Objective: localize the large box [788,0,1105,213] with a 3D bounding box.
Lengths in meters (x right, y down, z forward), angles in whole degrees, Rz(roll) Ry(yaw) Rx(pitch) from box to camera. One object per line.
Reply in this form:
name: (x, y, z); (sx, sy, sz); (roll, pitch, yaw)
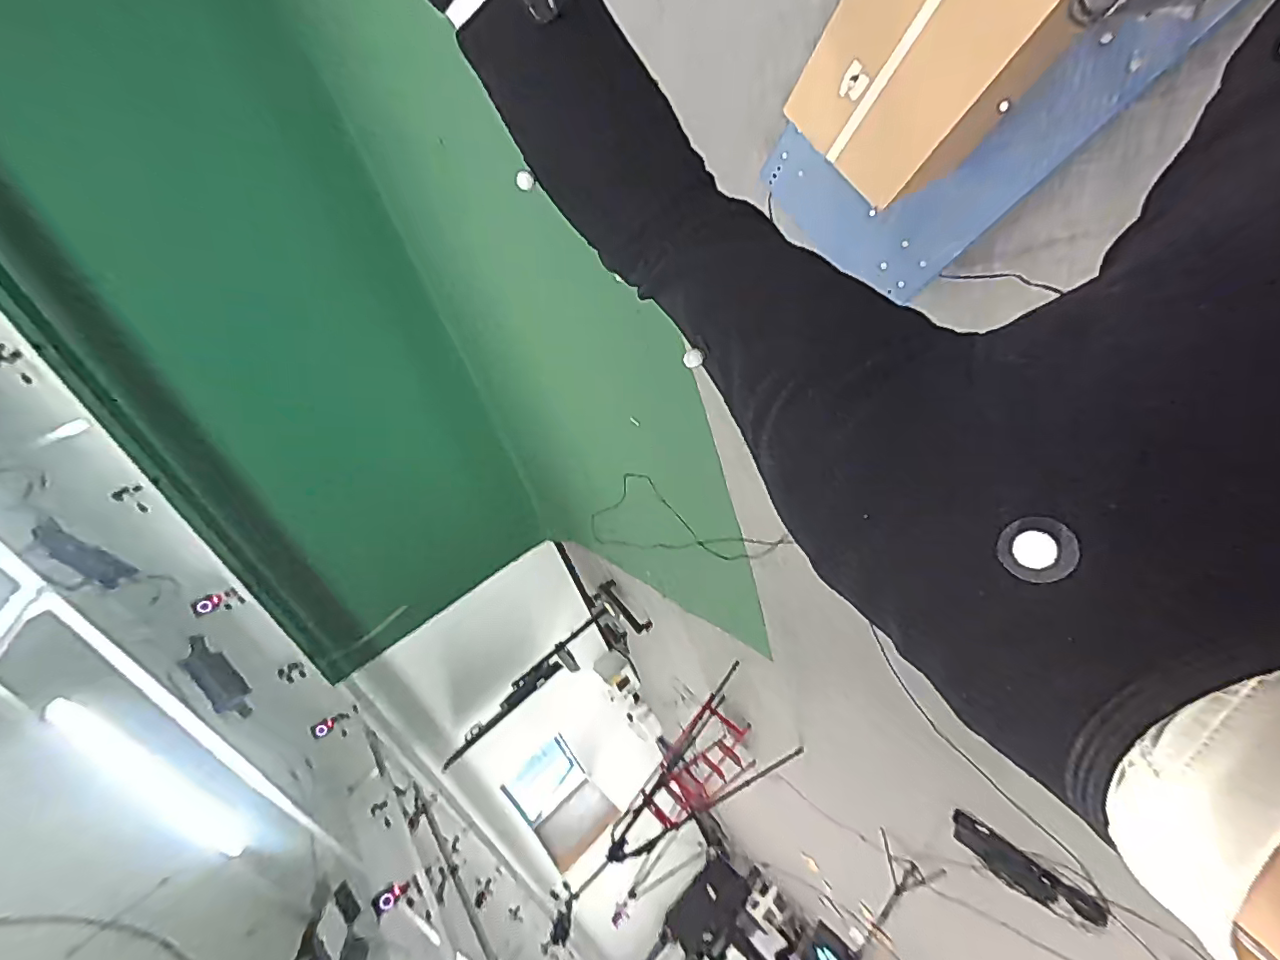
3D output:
large box: (0.568, -0.816, 1.020); (0.320, 0.320, 0.408); (52, 155, 7)
